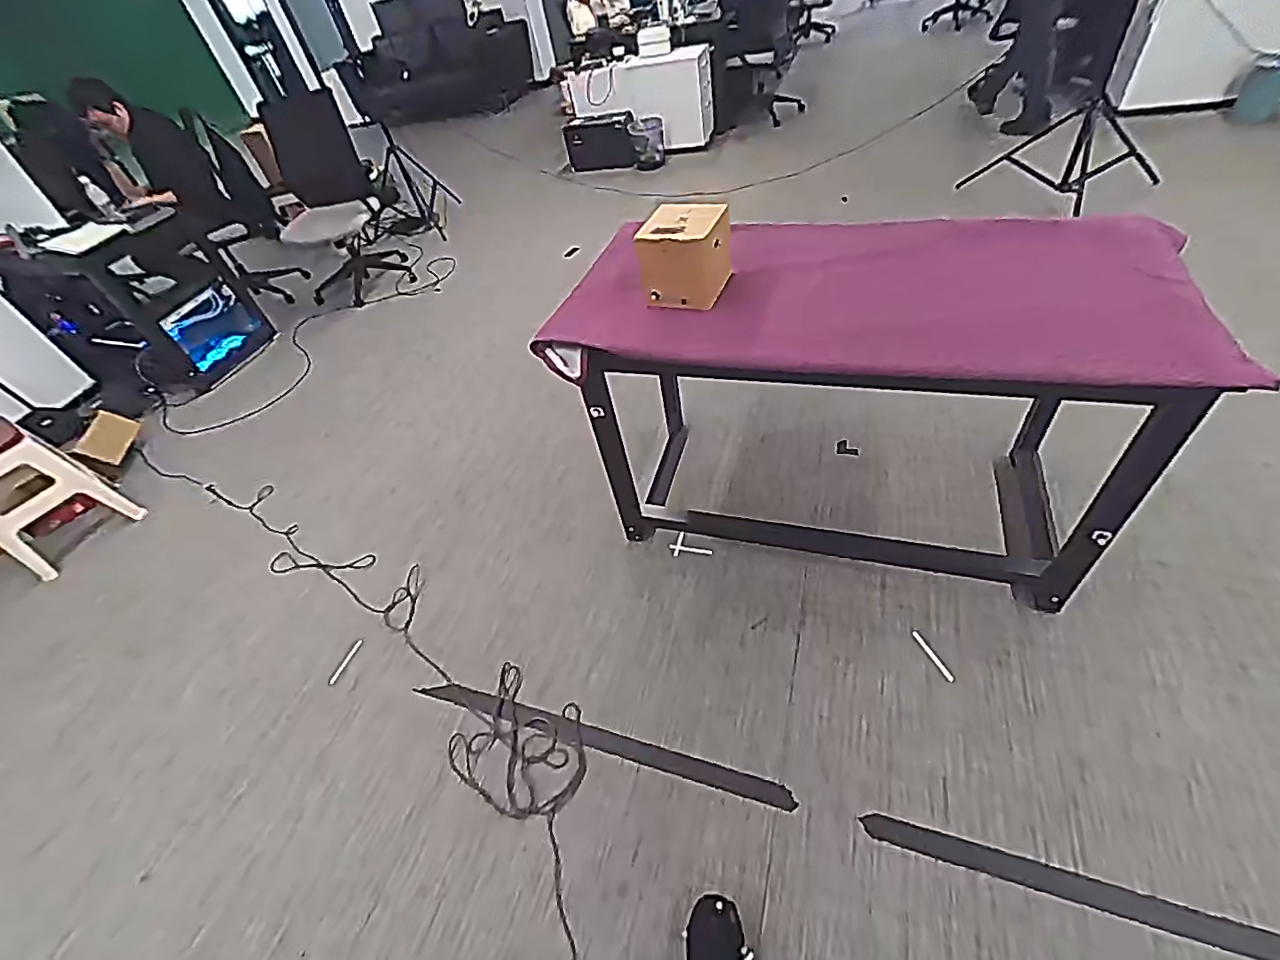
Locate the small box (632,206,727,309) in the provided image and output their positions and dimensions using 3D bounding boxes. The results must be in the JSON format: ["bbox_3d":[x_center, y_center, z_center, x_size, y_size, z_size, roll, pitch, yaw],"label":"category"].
[{"bbox_3d":[0.101,-0.518,1.262,0.168,0.176,0.179,12,51,22],"label":"small box"}]
